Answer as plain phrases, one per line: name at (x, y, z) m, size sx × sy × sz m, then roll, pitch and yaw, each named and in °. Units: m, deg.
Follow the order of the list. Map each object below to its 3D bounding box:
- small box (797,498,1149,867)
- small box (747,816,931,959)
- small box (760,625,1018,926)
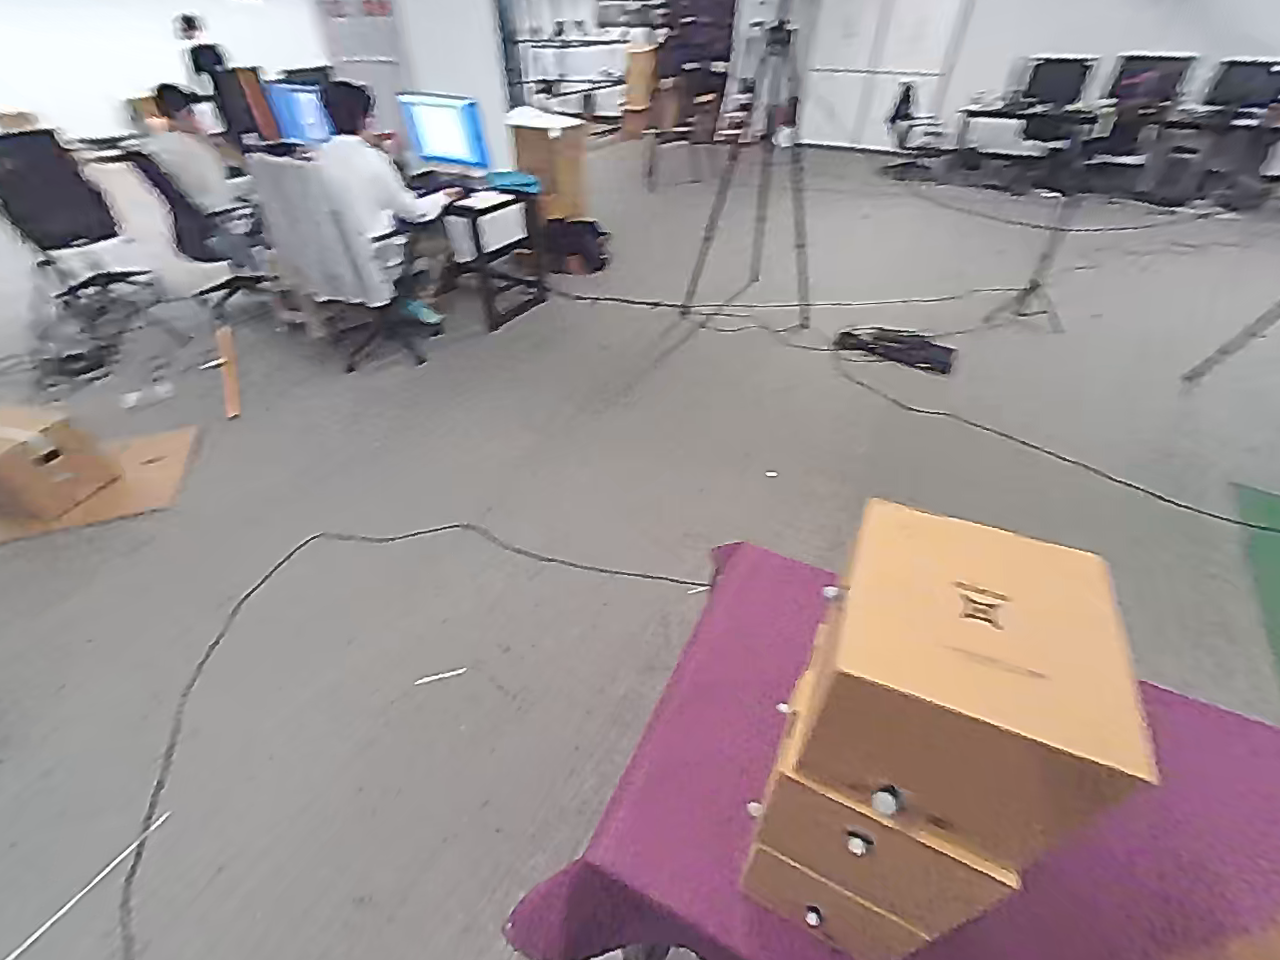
small box at (0.231, 0.148, 0.418) m, size 0.168 × 0.176 × 0.179 m, roll 16°, pitch 44°, yaw 20°
small box at (0.230, 0.404, 0.623) m, size 0.168 × 0.176 × 0.179 m, roll 19°, pitch 44°, yaw 21°
small box at (0.227, 0.278, 0.517) m, size 0.179 × 0.176 × 0.168 m, roll 19°, pitch 44°, yaw 20°
